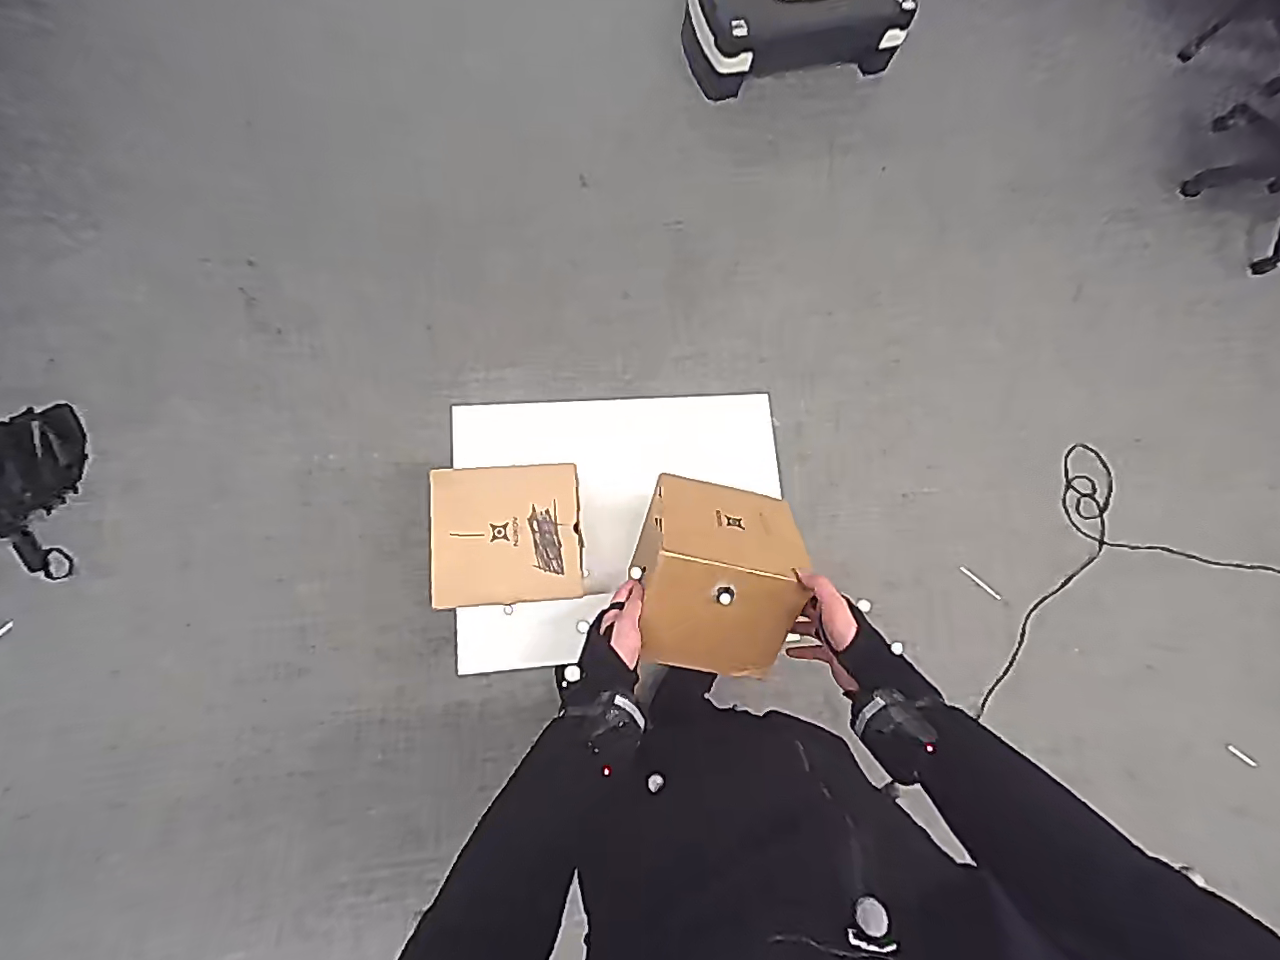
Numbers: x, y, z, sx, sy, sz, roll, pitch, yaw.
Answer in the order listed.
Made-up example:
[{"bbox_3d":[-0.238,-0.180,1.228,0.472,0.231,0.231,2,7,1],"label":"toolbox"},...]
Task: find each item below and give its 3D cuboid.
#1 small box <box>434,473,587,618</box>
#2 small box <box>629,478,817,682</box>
[{"bbox_3d":[-0.165,0.089,0.720,0.179,0.176,0.168,-3,78,-8],"label":"small box"},{"bbox_3d":[0.088,0.125,0.674,0.179,0.168,0.176,14,120,-7],"label":"small box"}]
